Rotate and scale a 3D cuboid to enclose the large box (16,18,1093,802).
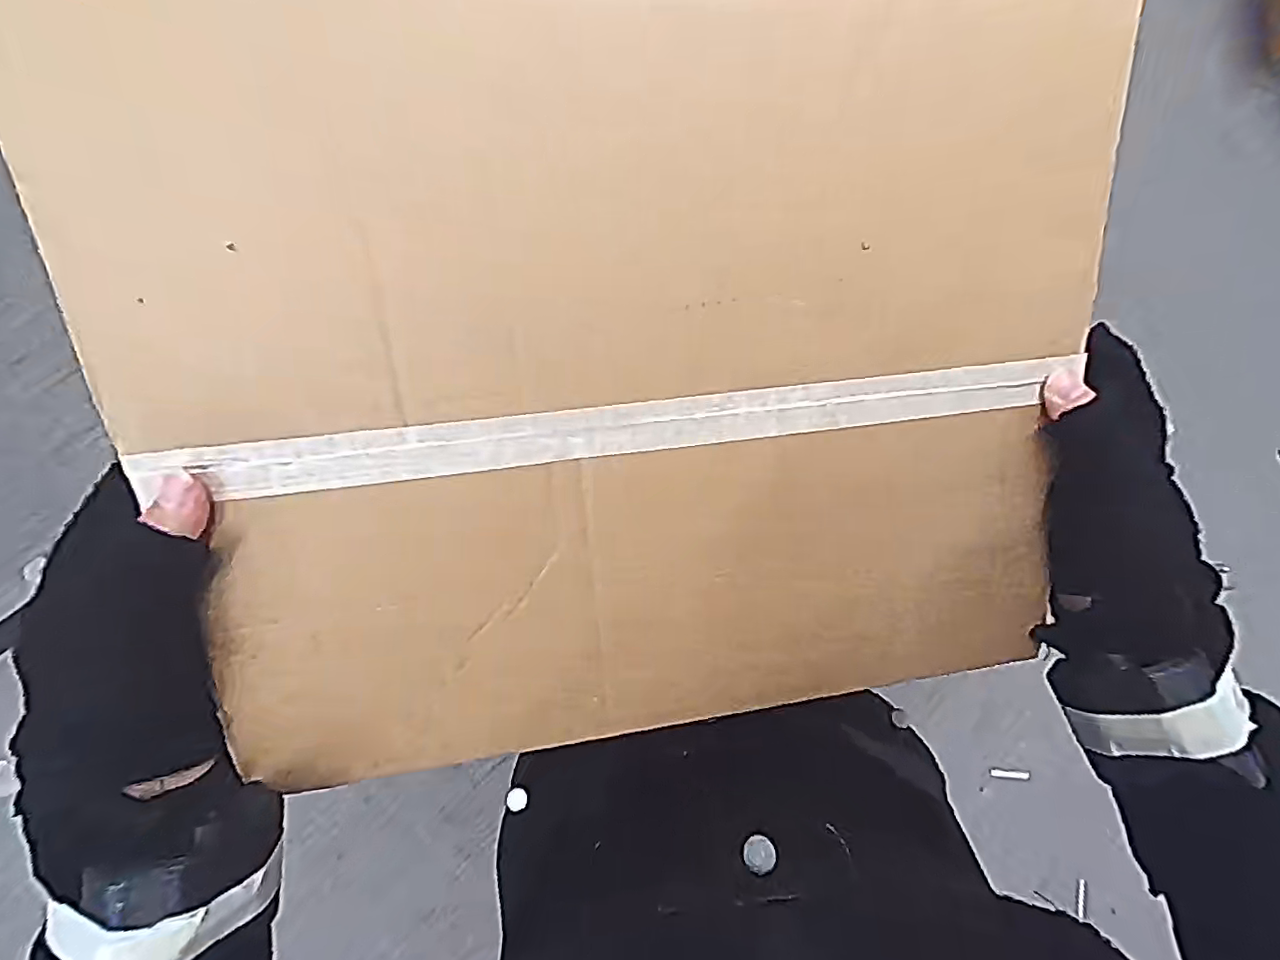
[{"bbox_3d":[-0.016,-0.058,0.383,0.408,0.320,0.320,-8,107,-8],"label":"large box"}]
